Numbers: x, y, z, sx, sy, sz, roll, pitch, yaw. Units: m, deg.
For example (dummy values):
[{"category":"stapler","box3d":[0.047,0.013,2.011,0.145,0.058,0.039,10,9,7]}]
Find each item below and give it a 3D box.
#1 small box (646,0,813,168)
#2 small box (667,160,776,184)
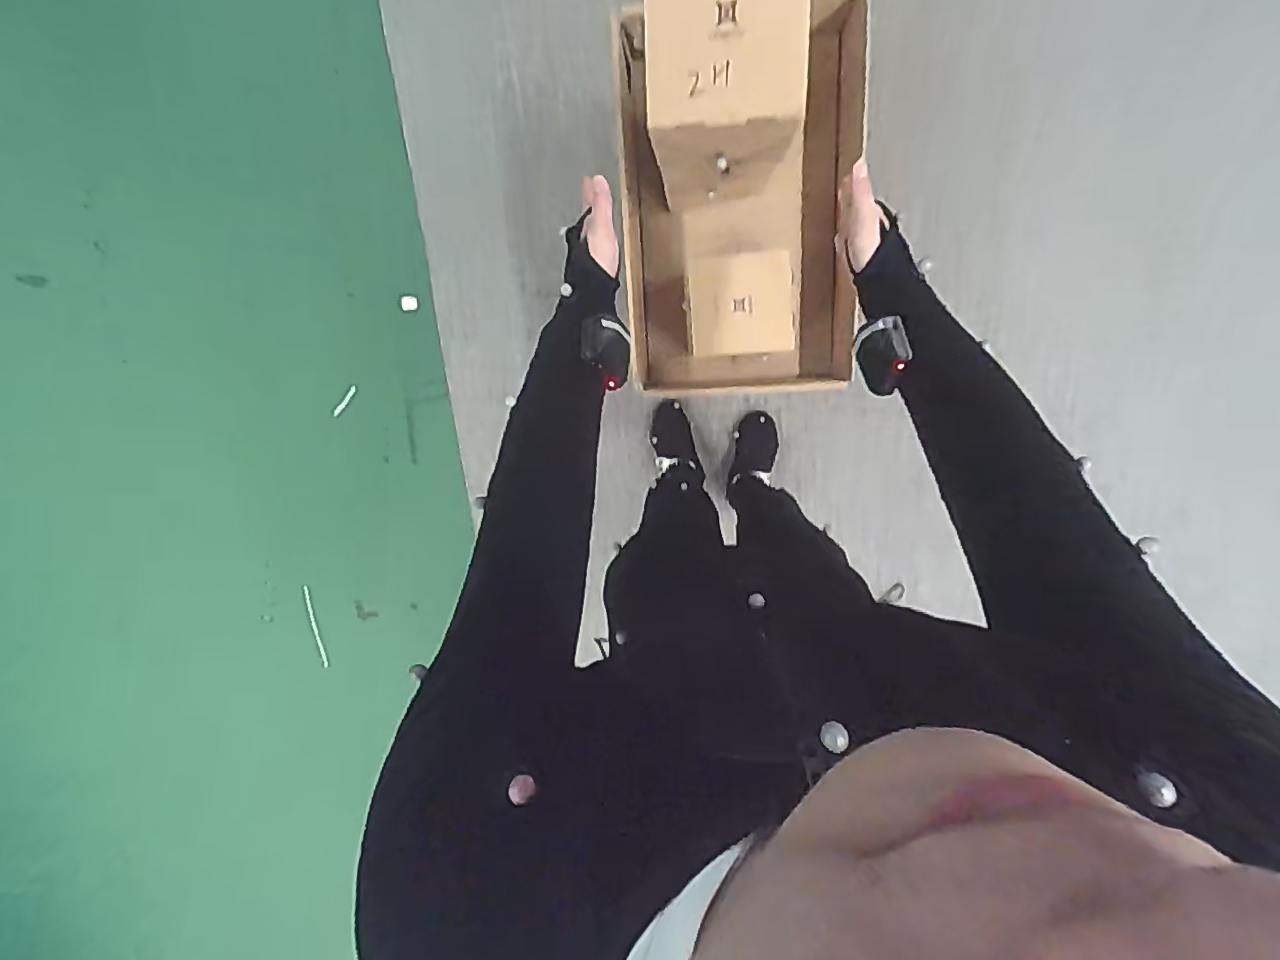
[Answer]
[{"category":"small box","box3d":[0.096,-0.476,0.610,0.168,0.176,0.179,0,106,8]},{"category":"small box","box3d":[0.113,-0.537,0.764,0.168,0.176,0.179,-7,106,8]}]
